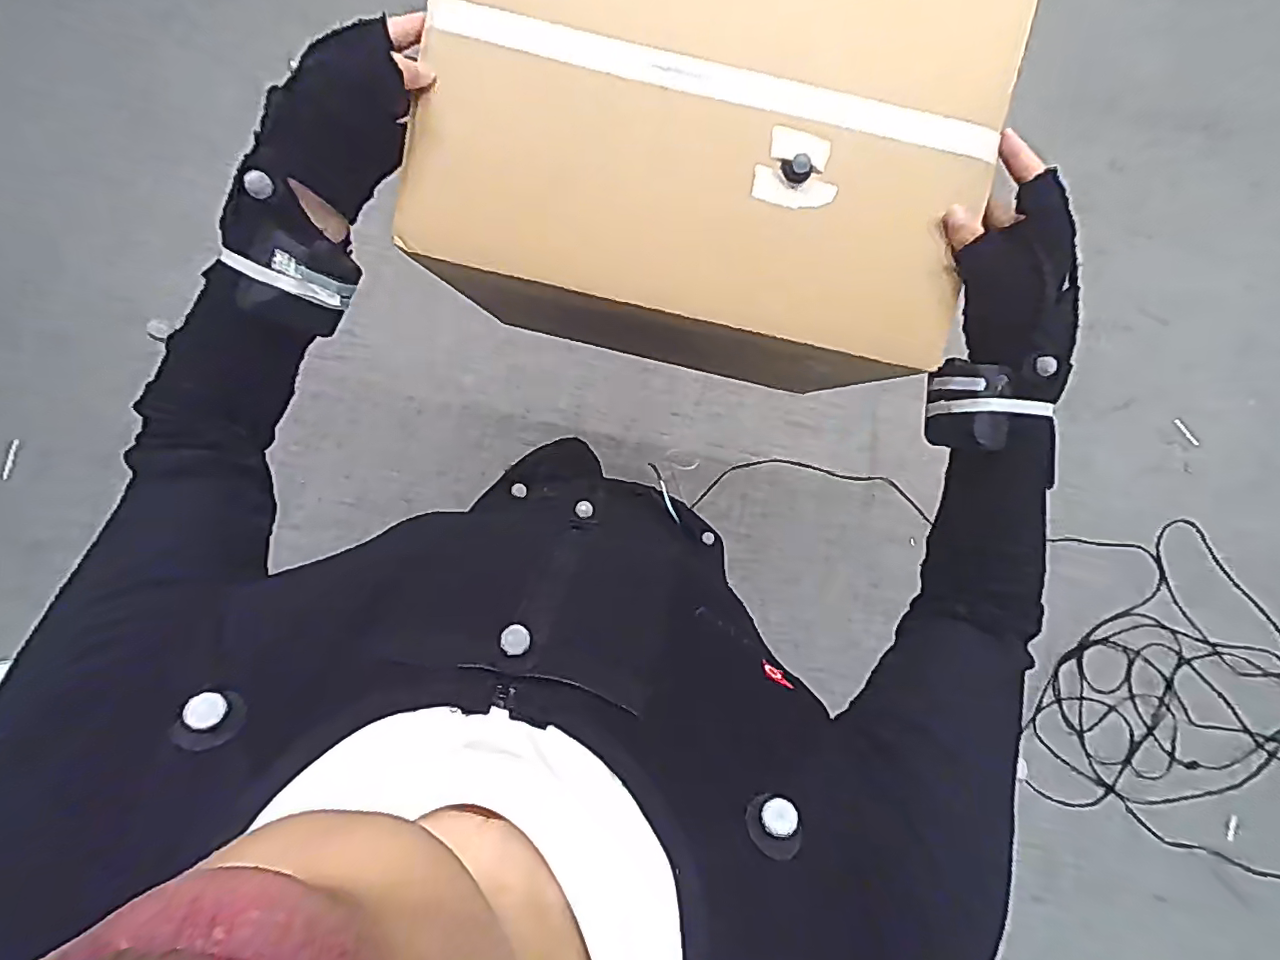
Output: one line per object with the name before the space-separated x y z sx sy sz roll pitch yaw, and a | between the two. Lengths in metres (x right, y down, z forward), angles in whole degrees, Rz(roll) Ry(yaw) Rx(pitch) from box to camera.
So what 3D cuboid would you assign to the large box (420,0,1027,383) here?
large box | 0.057 -0.296 0.536 0.408 0.320 0.320 12 97 -2
